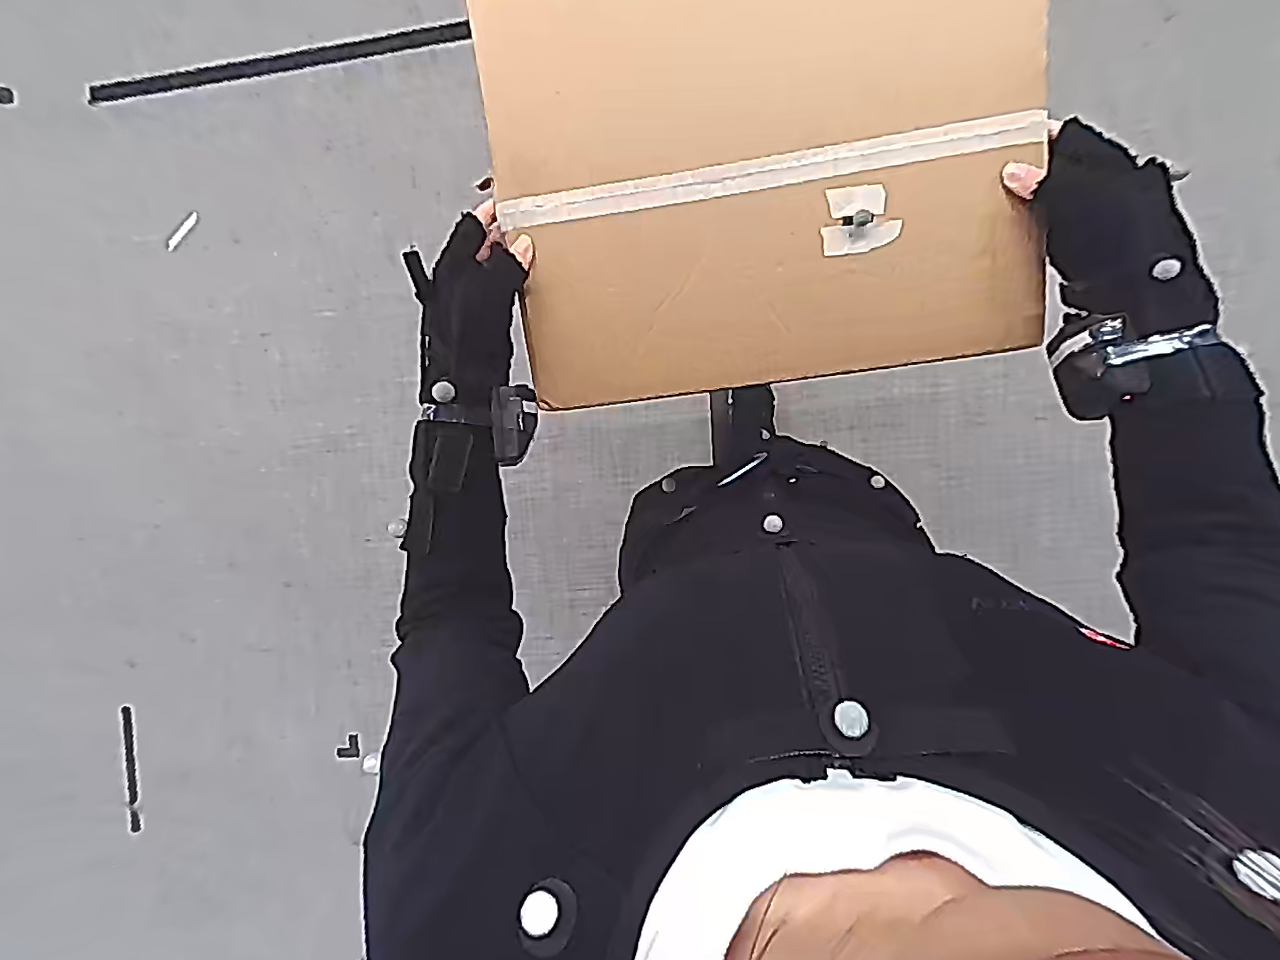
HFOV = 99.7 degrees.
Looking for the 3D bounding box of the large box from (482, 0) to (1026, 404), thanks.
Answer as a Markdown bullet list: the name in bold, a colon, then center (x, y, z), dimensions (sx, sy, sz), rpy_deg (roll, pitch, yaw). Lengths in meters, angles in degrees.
- **large box**: center (0.101, -0.270, 0.571), dimensions (0.408, 0.320, 0.320), rpy_deg (-7, 102, 4)
